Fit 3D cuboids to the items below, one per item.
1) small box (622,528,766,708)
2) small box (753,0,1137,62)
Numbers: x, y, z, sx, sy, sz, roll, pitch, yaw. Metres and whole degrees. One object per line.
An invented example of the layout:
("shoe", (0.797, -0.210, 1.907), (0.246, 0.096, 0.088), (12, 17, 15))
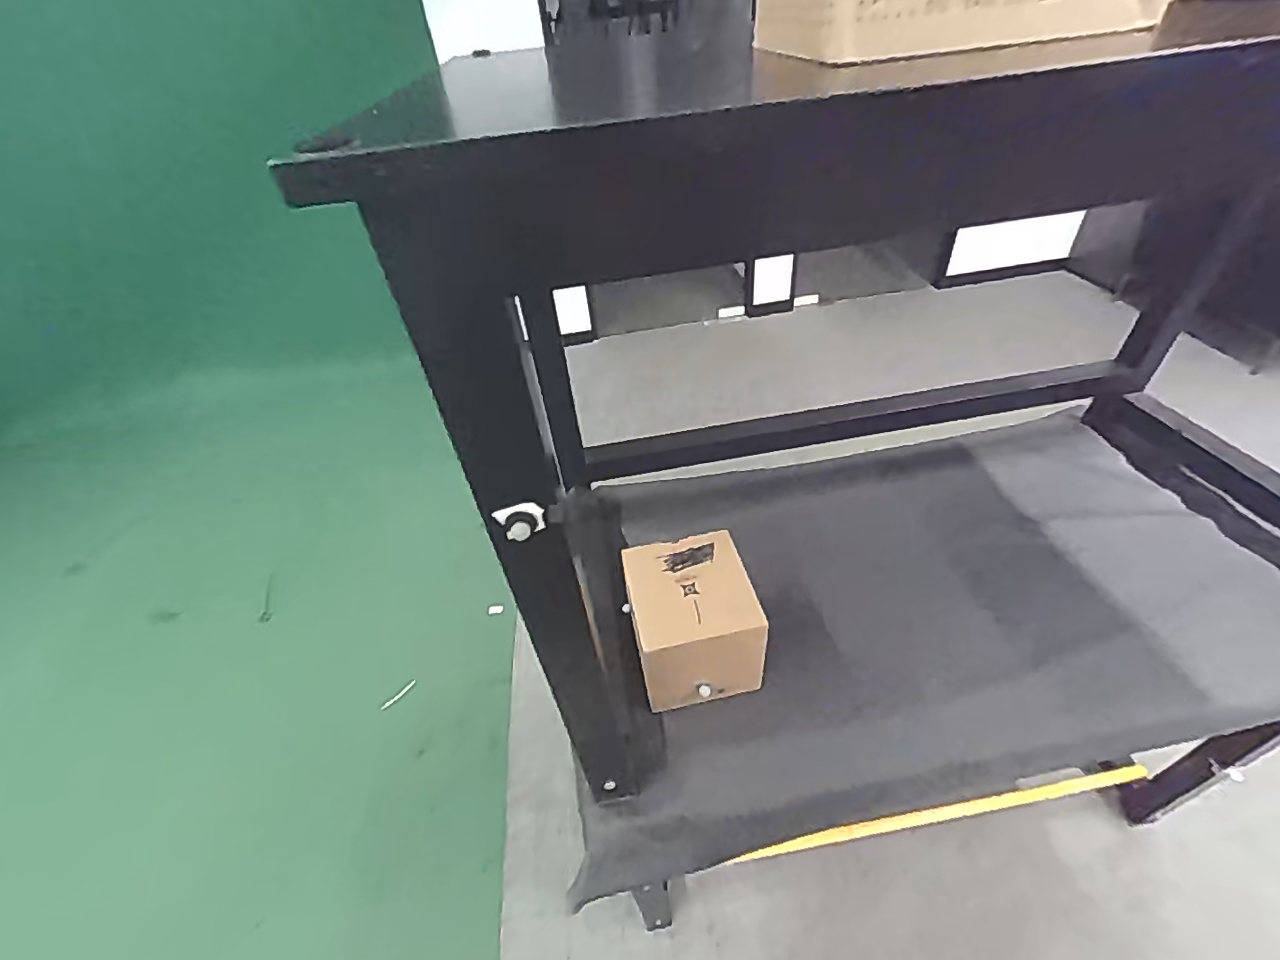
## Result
("small box", (0.072, 0.201, 0.793), (0.168, 0.176, 0.179), (-11, 41, -5))
("small box", (0.160, -0.335, 0.284), (0.168, 0.176, 0.179), (-7, 40, 0))
